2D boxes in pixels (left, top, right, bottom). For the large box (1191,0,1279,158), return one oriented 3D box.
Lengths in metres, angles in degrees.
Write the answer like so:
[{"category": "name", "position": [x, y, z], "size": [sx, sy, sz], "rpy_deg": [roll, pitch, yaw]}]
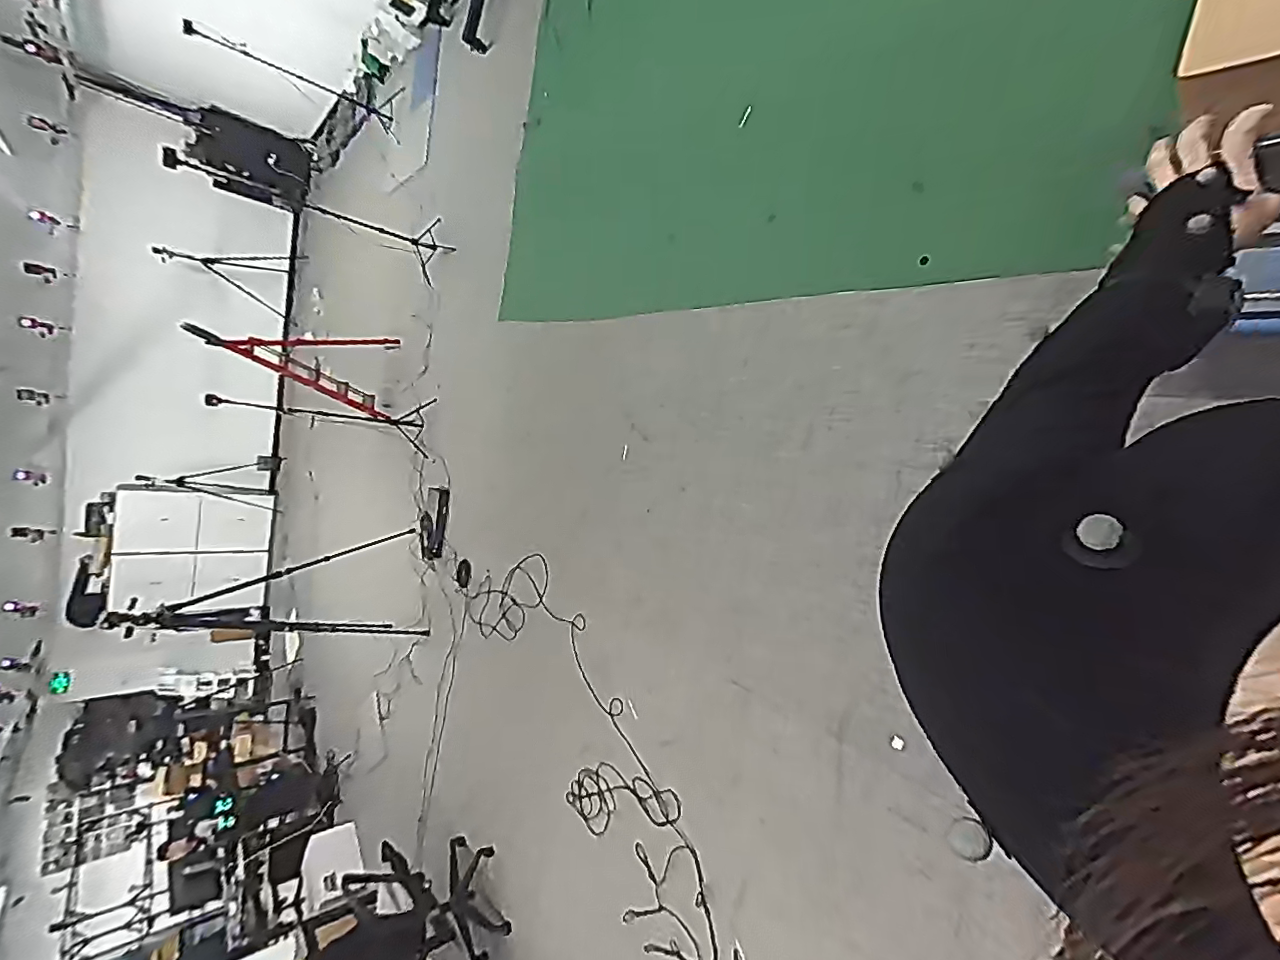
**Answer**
[{"category": "large box", "position": [1.066, -0.705, 0.733], "size": [0.408, 0.320, 0.320], "rpy_deg": [18, 100, 46]}]
